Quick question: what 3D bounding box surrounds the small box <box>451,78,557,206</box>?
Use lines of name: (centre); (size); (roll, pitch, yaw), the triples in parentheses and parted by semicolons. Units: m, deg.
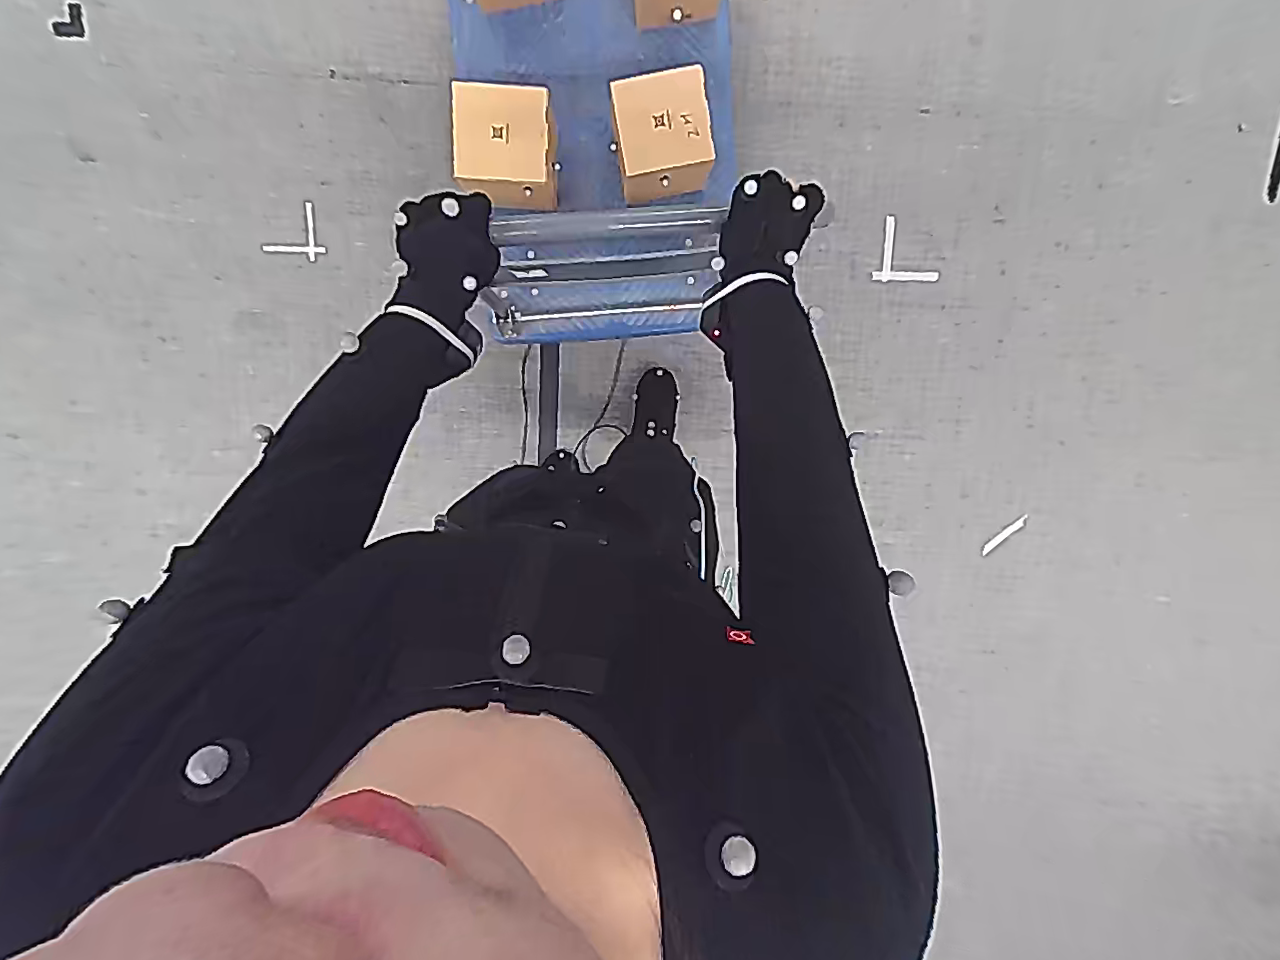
small box: (-0.262, -0.660, 1.076); (0.179, 0.176, 0.168); (1, 100, -3)

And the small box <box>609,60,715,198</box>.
small box: (0.042, -0.687, 1.079); (0.179, 0.176, 0.168); (-11, 101, 1)

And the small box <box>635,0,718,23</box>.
small box: (0.066, -1.017, 1.016); (0.168, 0.176, 0.179); (-9, 102, 0)
